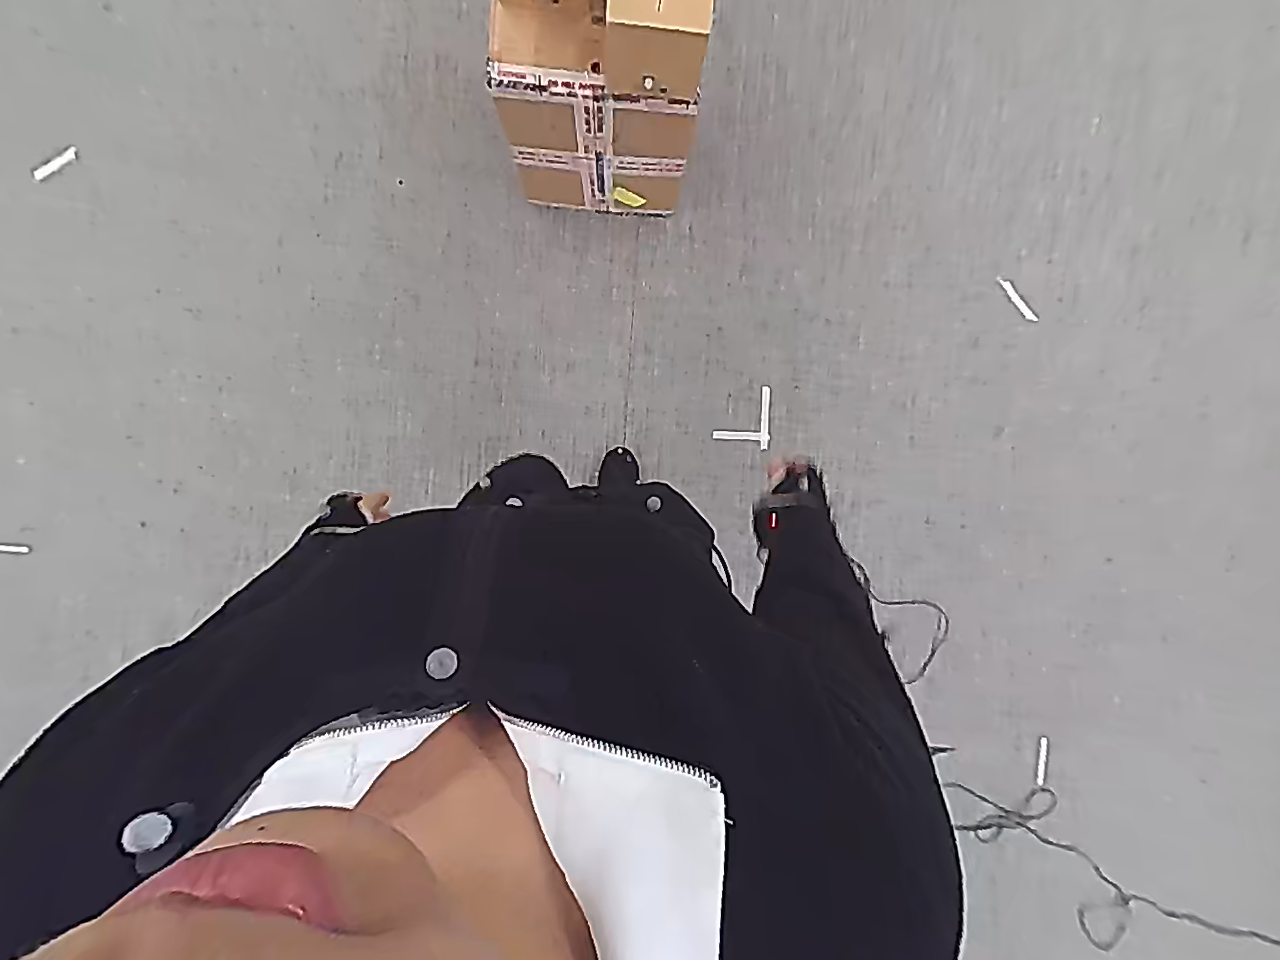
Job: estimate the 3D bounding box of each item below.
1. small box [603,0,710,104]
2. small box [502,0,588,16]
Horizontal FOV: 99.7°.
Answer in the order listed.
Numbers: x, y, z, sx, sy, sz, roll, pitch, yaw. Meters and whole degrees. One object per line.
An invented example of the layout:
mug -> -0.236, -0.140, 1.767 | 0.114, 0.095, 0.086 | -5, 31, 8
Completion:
small box -> 0.025, -0.784, 0.911 | 0.168, 0.176, 0.179 | 4, 94, -4
small box -> -0.168, -0.931, 0.893 | 0.168, 0.176, 0.179 | 5, 94, -1
